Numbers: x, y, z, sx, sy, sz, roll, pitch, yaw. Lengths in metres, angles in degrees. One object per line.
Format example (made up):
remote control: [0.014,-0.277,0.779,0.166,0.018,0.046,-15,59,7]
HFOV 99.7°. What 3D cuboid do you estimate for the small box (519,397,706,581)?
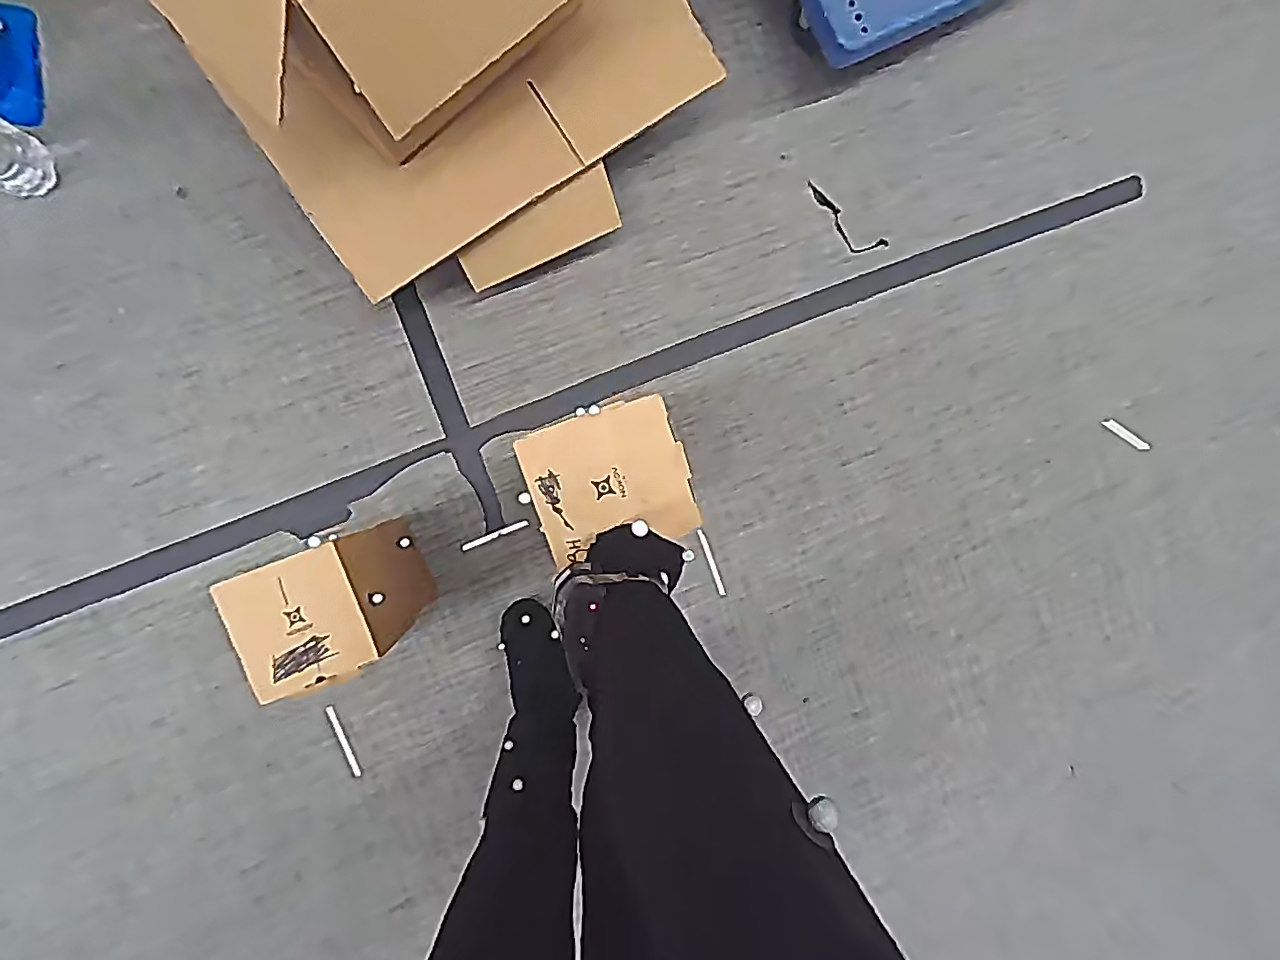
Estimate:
small box: [-0.042,0.004,0.679,0.179,0.176,0.168,-19,96,-8]

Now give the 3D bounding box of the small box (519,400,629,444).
small box: [-0.078,-0.008,0.839,0.168,0.176,0.179,-21,96,-7]

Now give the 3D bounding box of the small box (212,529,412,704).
small box: [-0.462,0.187,0.796,0.168,0.176,0.179,-21,94,-6]

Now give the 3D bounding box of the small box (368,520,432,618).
small box: [-0.490,0.181,0.958,0.179,0.176,0.168,-24,95,-5]
